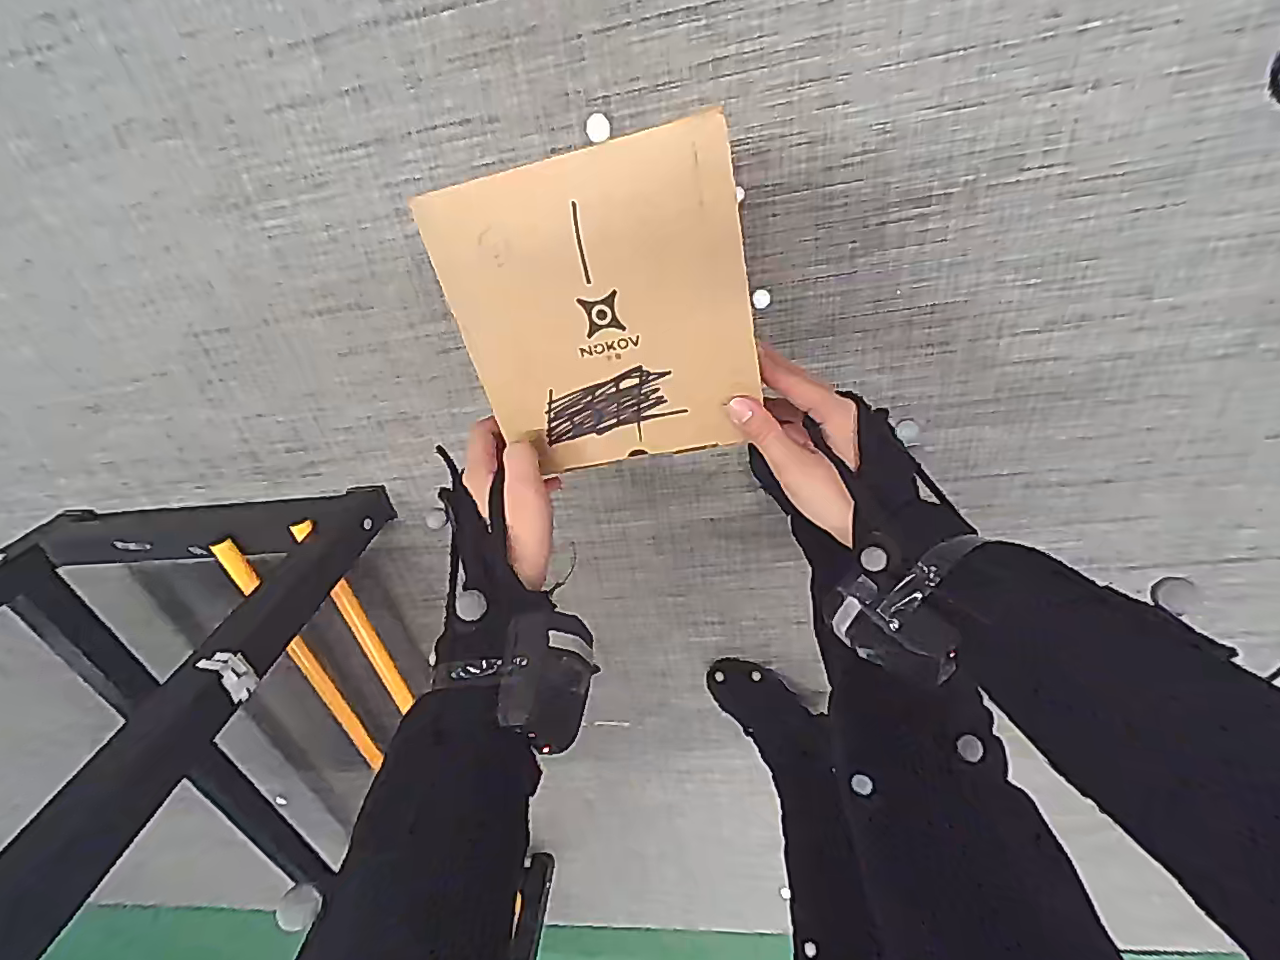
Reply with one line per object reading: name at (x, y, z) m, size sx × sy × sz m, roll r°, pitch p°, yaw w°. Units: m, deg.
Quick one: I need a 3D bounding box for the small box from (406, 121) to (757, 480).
small box at (-0.016, -0.125, 0.372) m, size 0.168 × 0.176 × 0.179 m, roll -9°, pitch 120°, yaw 11°
